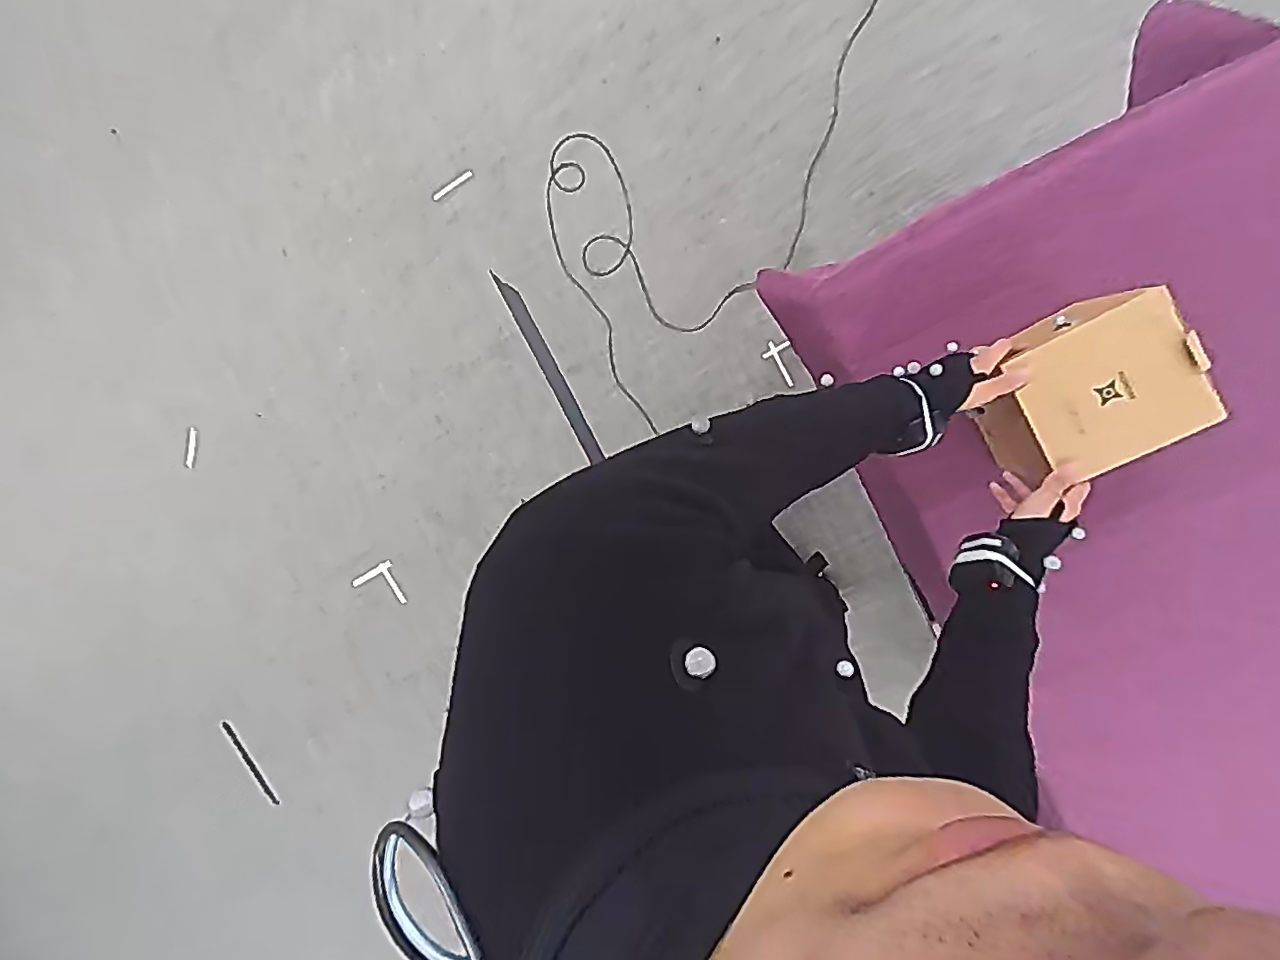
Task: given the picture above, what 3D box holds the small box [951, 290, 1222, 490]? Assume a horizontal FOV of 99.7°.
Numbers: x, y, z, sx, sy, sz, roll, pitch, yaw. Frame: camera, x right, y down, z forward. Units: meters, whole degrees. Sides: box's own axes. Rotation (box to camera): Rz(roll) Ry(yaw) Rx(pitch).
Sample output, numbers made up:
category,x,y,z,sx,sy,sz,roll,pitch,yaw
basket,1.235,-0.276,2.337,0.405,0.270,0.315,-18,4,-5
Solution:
category,x,y,z,sx,sy,sz,roll,pitch,yaw
small box,0.533,-0.111,0.676,0.179,0.176,0.168,-28,94,14
